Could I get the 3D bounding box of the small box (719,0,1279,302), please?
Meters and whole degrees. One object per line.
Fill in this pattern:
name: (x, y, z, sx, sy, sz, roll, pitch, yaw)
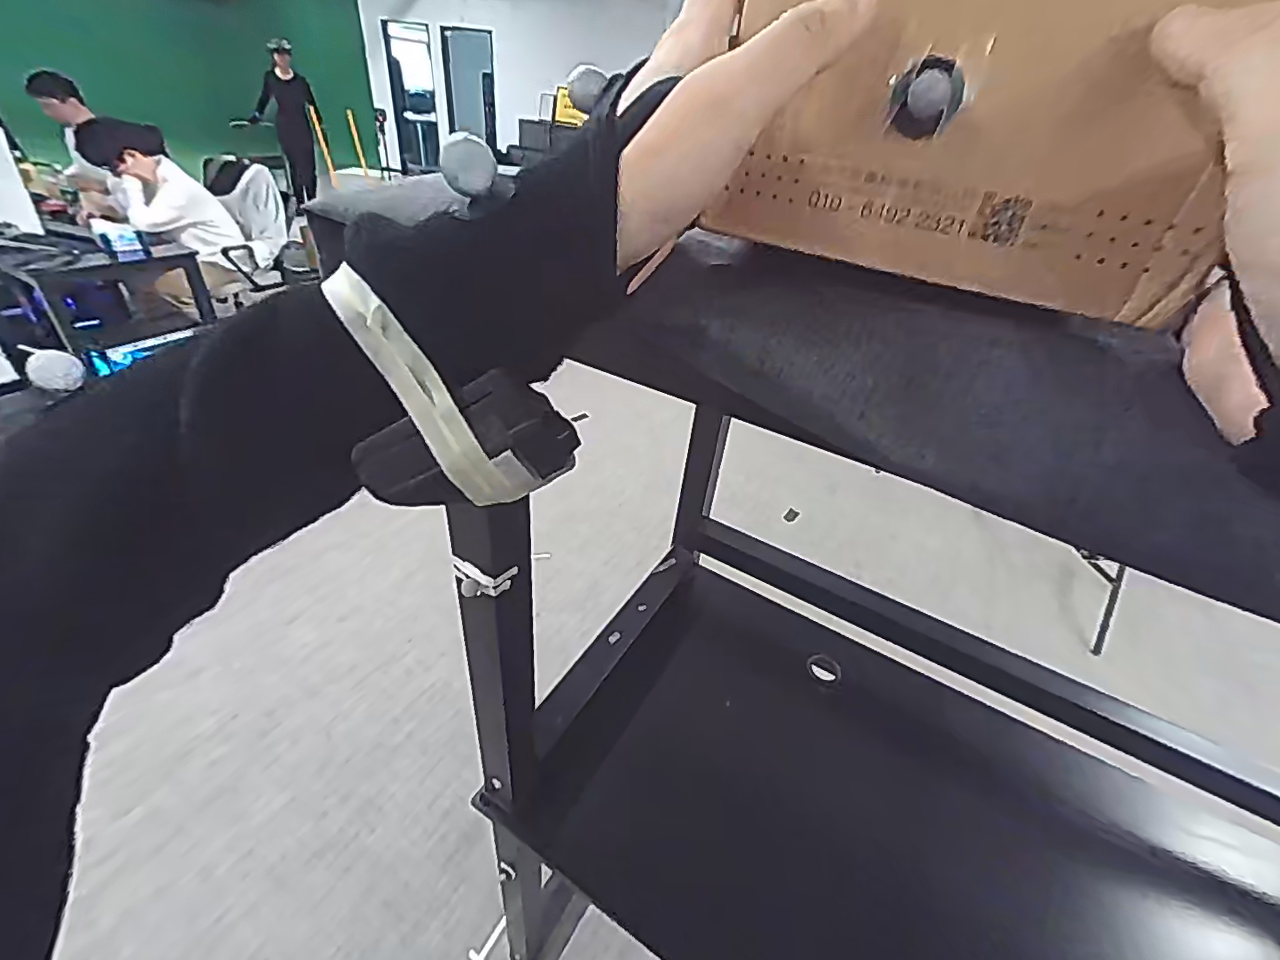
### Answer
small box: (0.143, -0.183, 0.221, 0.168, 0.176, 0.179, 20, 30, 15)
